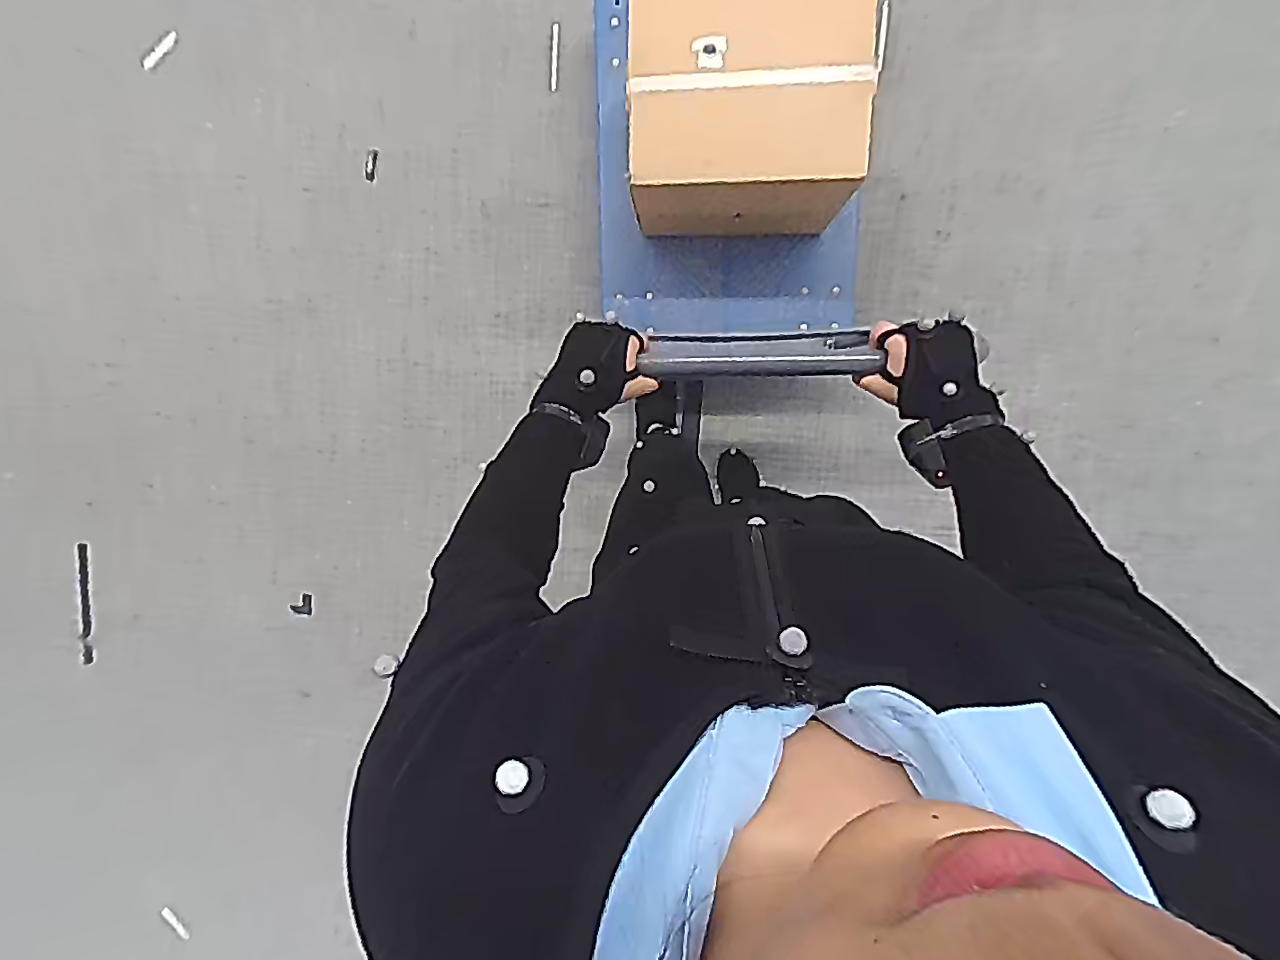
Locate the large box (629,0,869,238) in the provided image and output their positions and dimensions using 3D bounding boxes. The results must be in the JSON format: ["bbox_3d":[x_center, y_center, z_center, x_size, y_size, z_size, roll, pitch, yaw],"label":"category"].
[{"bbox_3d":[0.198,-0.686,1.066,0.408,0.320,0.320,1,97,6],"label":"large box"}]
